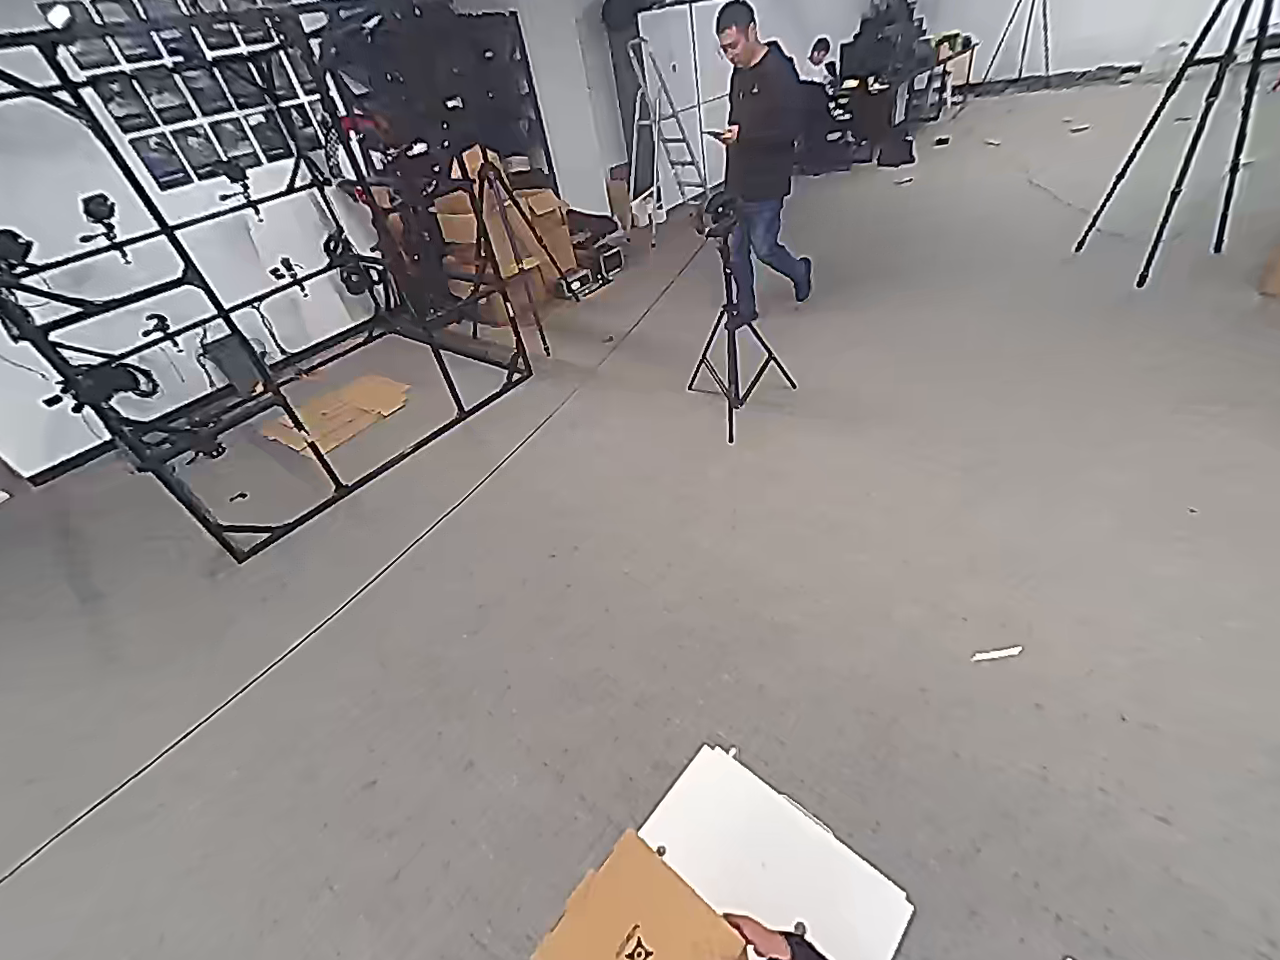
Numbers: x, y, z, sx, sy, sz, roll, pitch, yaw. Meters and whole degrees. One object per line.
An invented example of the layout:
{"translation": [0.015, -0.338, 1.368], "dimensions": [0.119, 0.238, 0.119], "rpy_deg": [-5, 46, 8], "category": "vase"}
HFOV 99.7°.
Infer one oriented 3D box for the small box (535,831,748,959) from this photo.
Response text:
{"translation": [0.014, 0.565, 0.627], "dimensions": [0.179, 0.176, 0.168], "rpy_deg": [22, 50, 37], "category": "small box"}
